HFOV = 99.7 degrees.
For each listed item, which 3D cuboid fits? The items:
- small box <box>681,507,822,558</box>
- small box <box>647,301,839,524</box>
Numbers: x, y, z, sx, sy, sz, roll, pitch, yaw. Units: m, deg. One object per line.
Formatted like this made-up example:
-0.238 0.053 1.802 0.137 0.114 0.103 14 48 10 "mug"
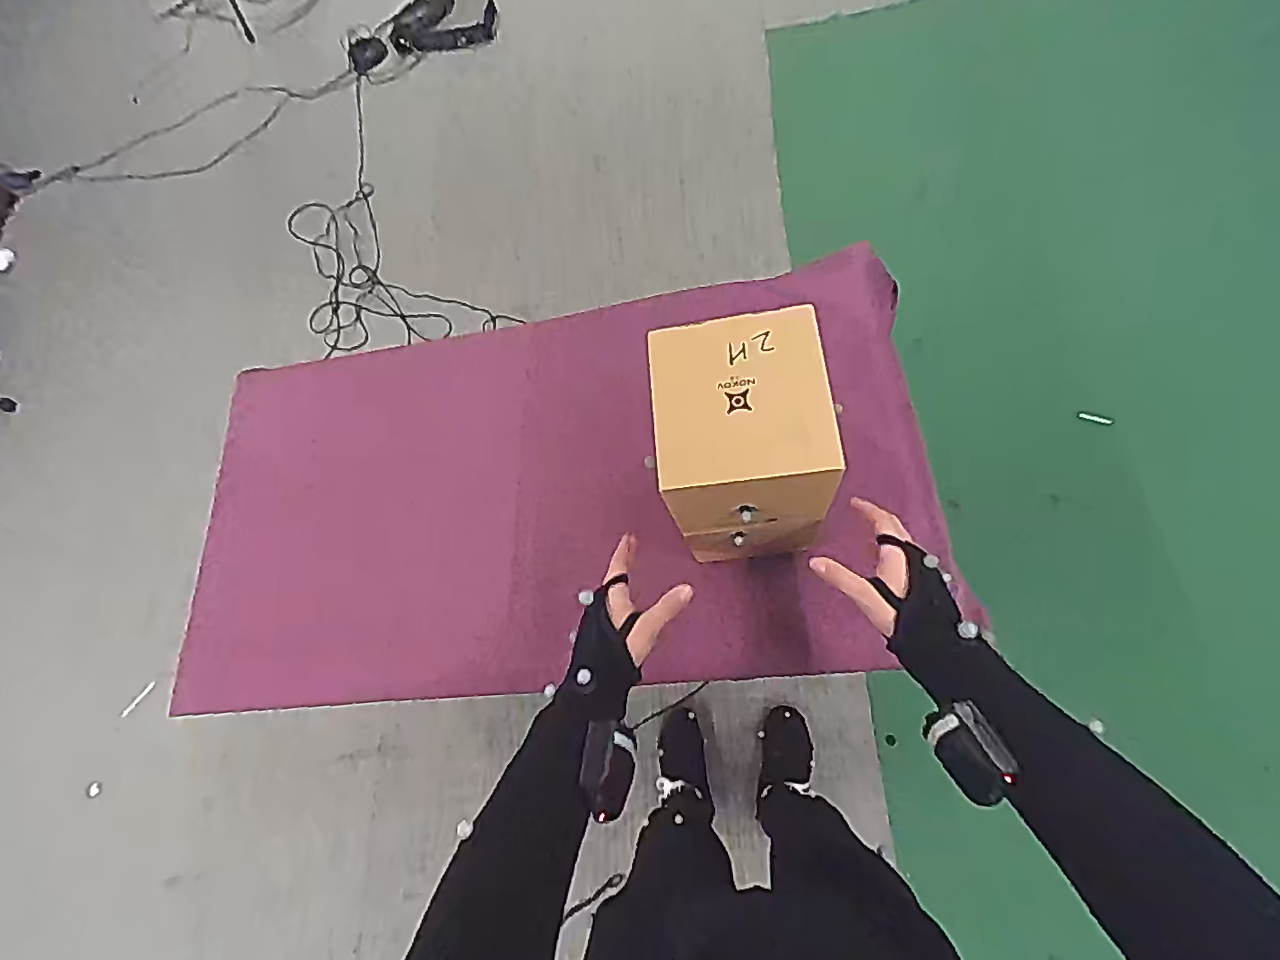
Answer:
0.140 -0.002 0.731 0.168 0.176 0.179 -8 70 10 "small box"
0.106 -0.056 0.576 0.168 0.176 0.179 -7 69 10 "small box"
